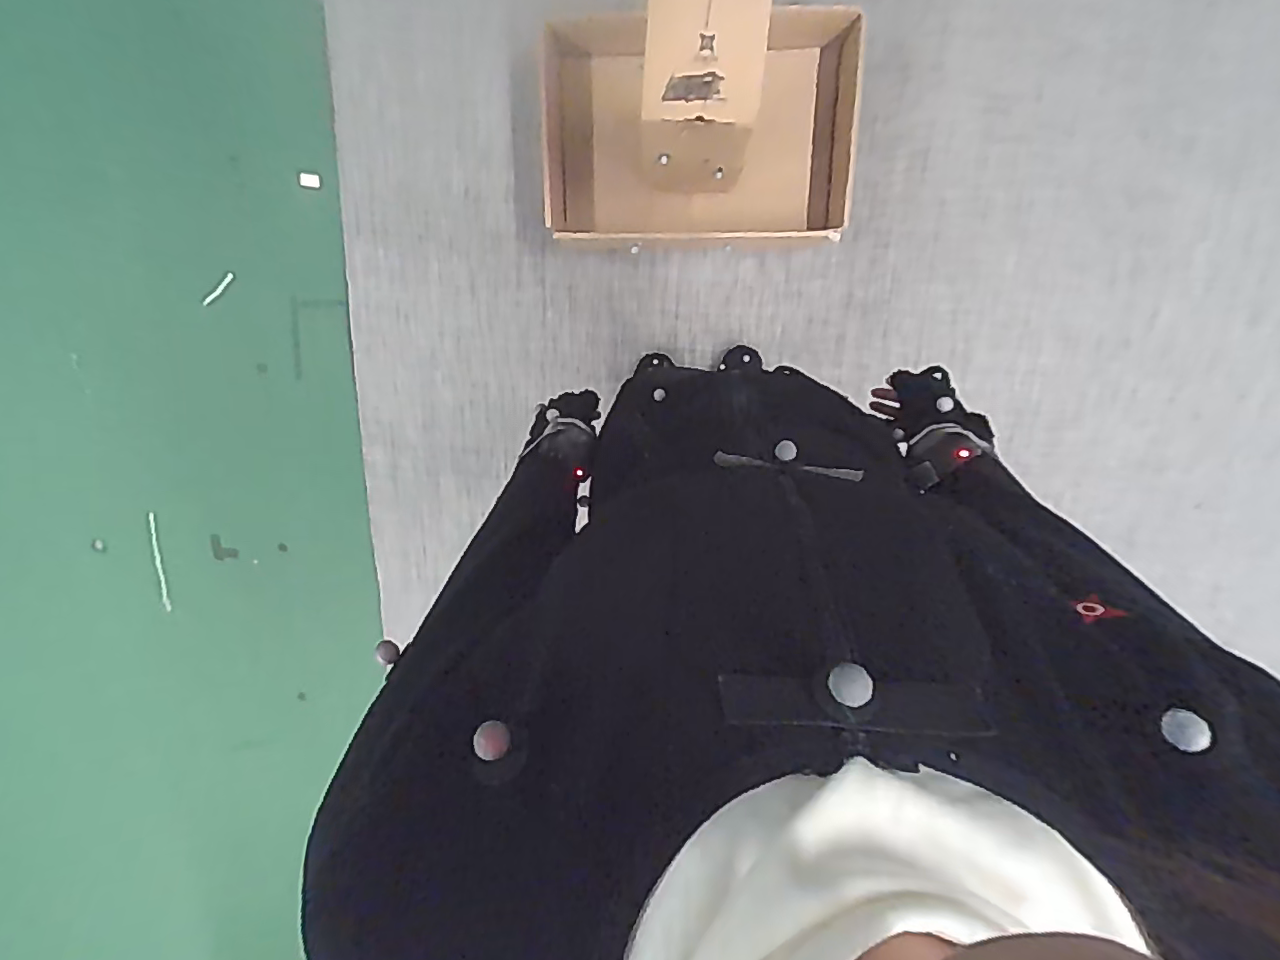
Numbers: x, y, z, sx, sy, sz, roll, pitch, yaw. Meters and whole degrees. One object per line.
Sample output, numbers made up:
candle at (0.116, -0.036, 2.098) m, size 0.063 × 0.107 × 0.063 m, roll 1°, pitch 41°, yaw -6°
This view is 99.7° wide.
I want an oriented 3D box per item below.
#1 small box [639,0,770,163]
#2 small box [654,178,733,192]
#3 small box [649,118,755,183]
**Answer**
small box at (0.092, -0.602, 0.816) m, size 0.168 × 0.176 × 0.179 m, roll 5°, pitch 103°, yaw 2°
small box at (0.114, -0.713, 1.126) m, size 0.179 × 0.176 × 0.168 m, roll 0°, pitch 104°, yaw 3°
small box at (0.105, -0.641, 0.959) m, size 0.179 × 0.176 × 0.168 m, roll 1°, pitch 105°, yaw 3°
